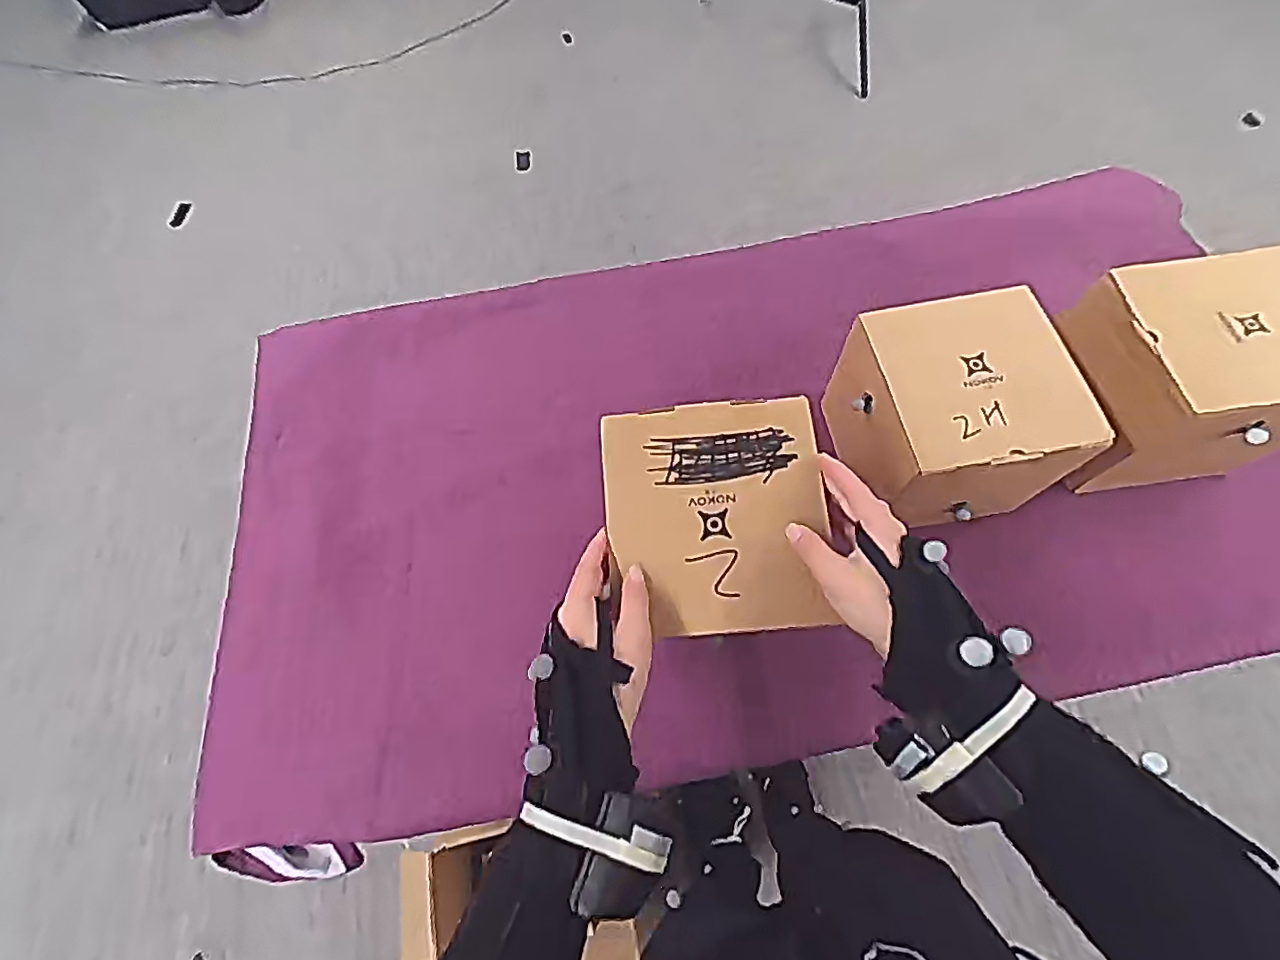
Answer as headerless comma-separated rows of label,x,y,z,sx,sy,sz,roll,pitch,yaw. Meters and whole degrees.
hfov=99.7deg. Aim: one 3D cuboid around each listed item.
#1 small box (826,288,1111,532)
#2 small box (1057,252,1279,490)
small box,0.308,-0.063,0.559,0.168,0.176,0.179,-9,66,2
small box,0.547,-0.102,0.557,0.179,0.176,0.168,-7,65,3
